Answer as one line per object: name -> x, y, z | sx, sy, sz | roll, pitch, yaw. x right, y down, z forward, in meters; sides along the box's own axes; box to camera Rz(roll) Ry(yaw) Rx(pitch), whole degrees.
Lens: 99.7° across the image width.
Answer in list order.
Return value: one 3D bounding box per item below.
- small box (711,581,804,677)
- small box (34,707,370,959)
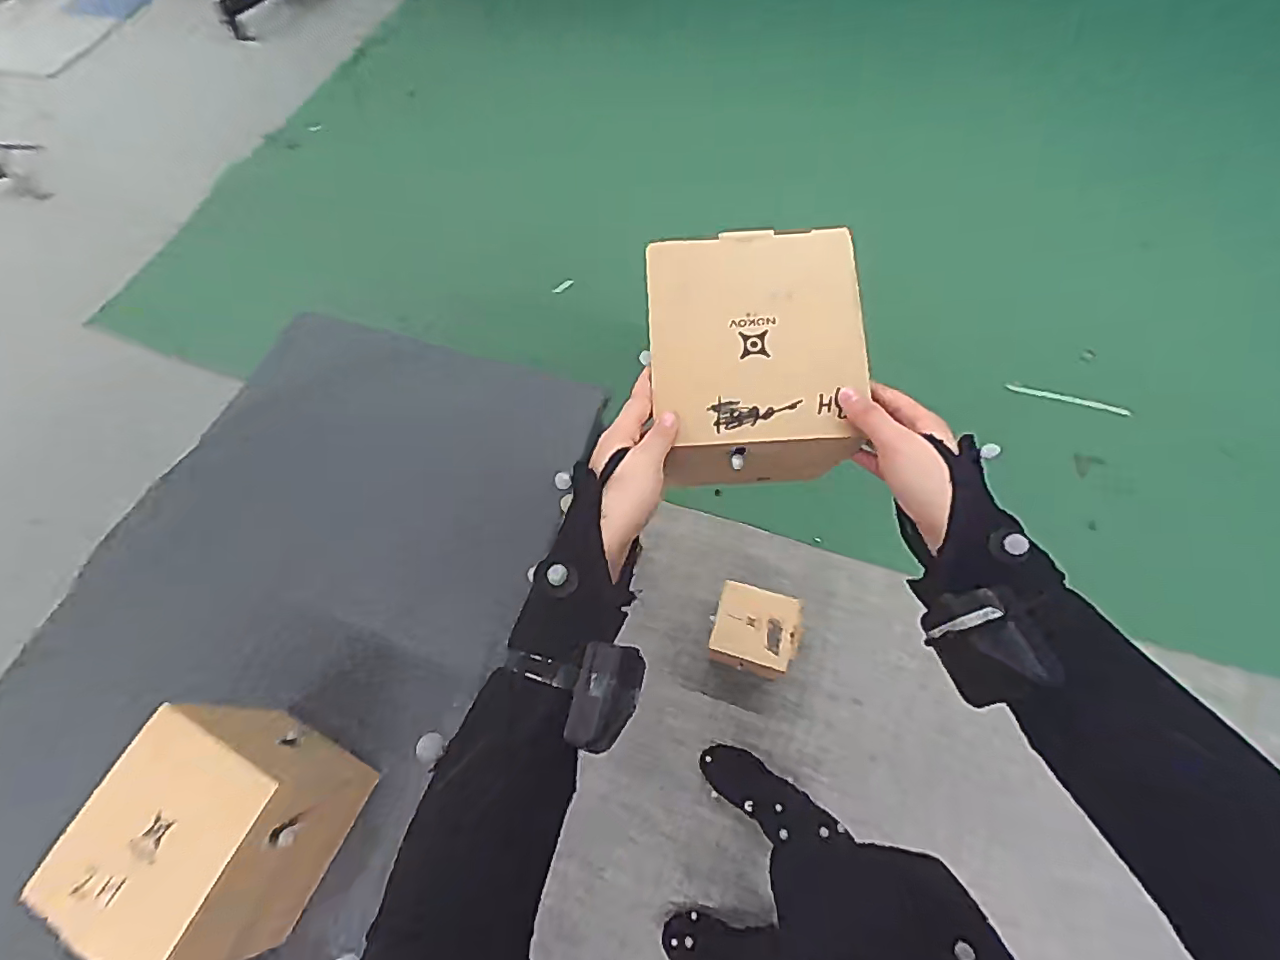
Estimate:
small box -> 0.274, 0.359, 1.282 | 0.179, 0.176, 0.168 | 14, 67, 14
small box -> -0.415, 0.356, 0.552 | 0.168, 0.176, 0.179 | 21, 70, 18
